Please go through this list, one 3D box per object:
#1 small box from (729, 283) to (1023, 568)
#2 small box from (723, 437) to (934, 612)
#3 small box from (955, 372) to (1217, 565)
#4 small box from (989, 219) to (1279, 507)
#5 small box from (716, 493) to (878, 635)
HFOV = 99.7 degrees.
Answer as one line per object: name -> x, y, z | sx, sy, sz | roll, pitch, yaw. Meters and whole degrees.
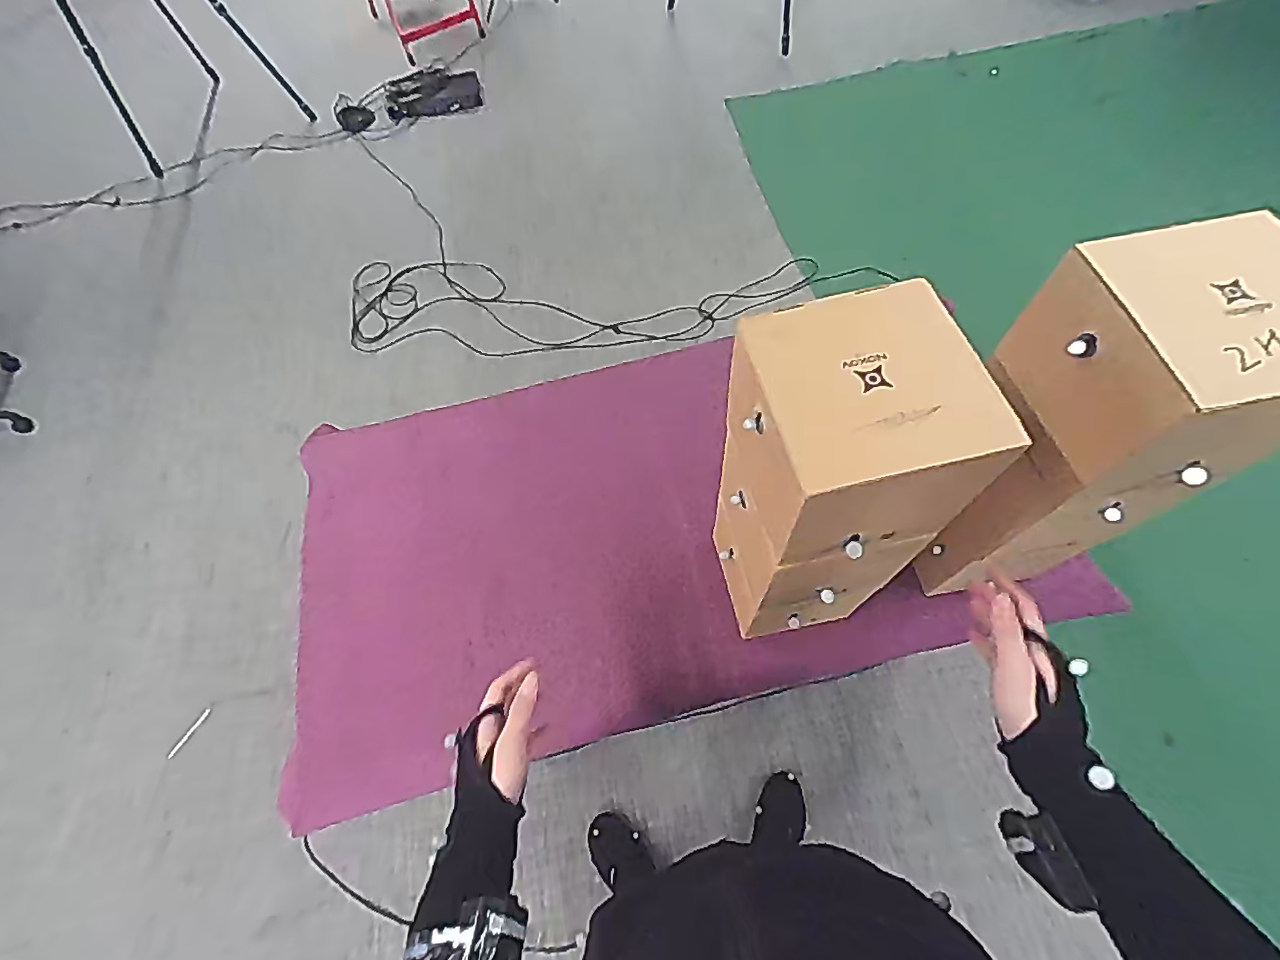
small box -> 0.182, -0.041, 0.489 | 0.168, 0.176, 0.179 | -12, 62, 0
small box -> 0.197, 0.036, 0.631 | 0.168, 0.176, 0.179 | -12, 62, 0
small box -> 0.474, -0.019, 0.632 | 0.168, 0.176, 0.179 | -10, 62, 1
small box -> 0.460, -0.096, 0.487 | 0.168, 0.176, 0.179 | -9, 63, 1
small box -> 0.209, 0.114, 0.775 | 0.168, 0.176, 0.179 | -12, 61, -1
